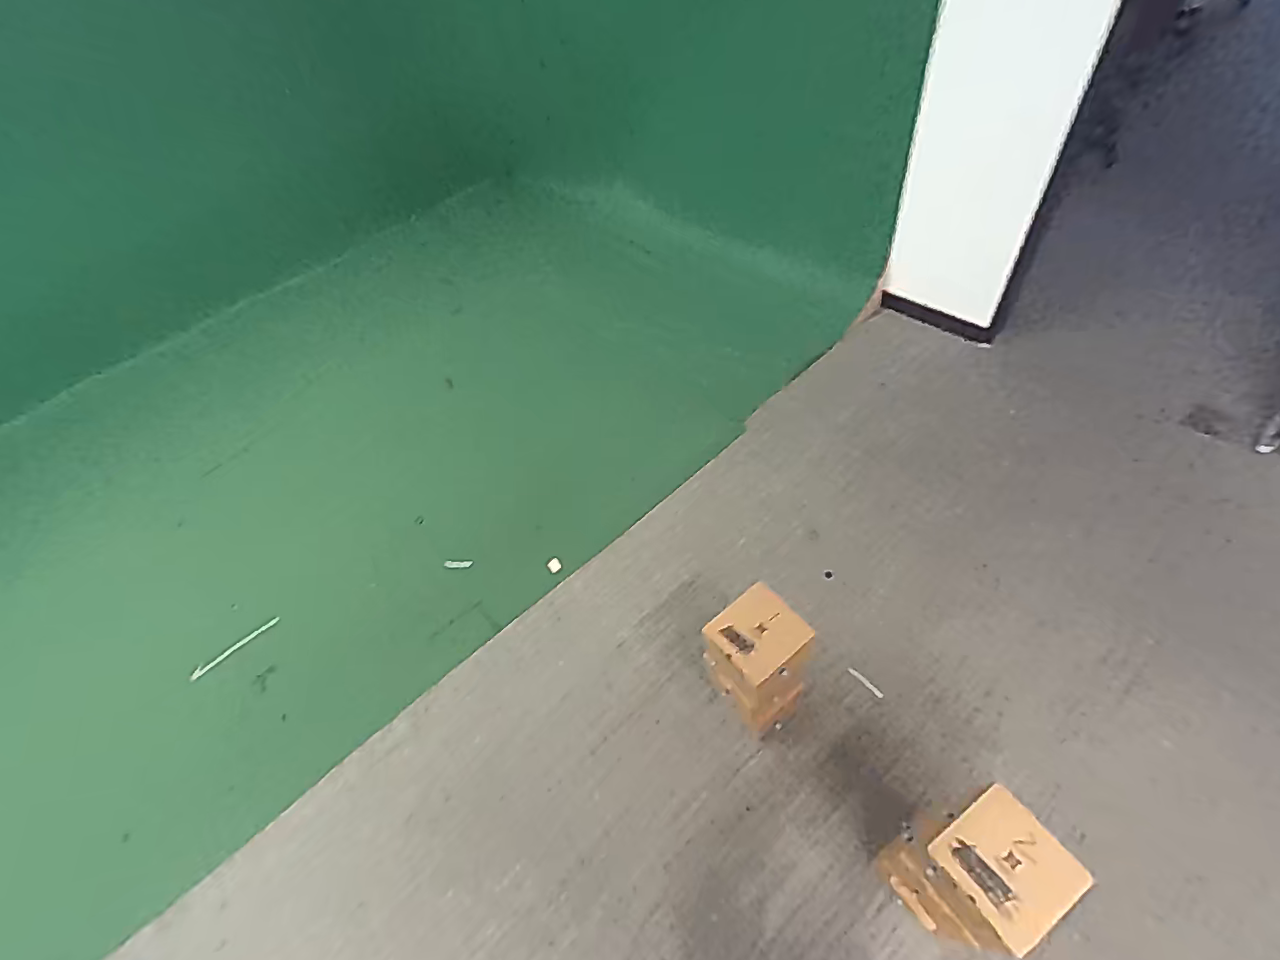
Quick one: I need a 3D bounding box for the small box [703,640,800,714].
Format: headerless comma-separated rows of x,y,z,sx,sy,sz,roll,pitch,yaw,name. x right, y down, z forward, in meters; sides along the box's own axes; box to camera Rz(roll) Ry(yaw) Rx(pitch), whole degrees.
0.282,0.447,1.338,0.179,0.176,0.168,-35,54,-12,small box

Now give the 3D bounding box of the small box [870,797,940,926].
0.630,0.829,1.180,0.179,0.176,0.168,-29,51,-9,small box

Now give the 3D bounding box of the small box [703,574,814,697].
0.265,0.351,1.205,0.179,0.176,0.168,-35,54,-14,small box

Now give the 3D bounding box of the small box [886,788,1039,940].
0.610,0.737,1.050,0.179,0.176,0.168,-34,55,-12,small box

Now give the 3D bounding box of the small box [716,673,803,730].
0.316,0.543,1.465,0.168,0.176,0.179,-34,55,-13,small box
